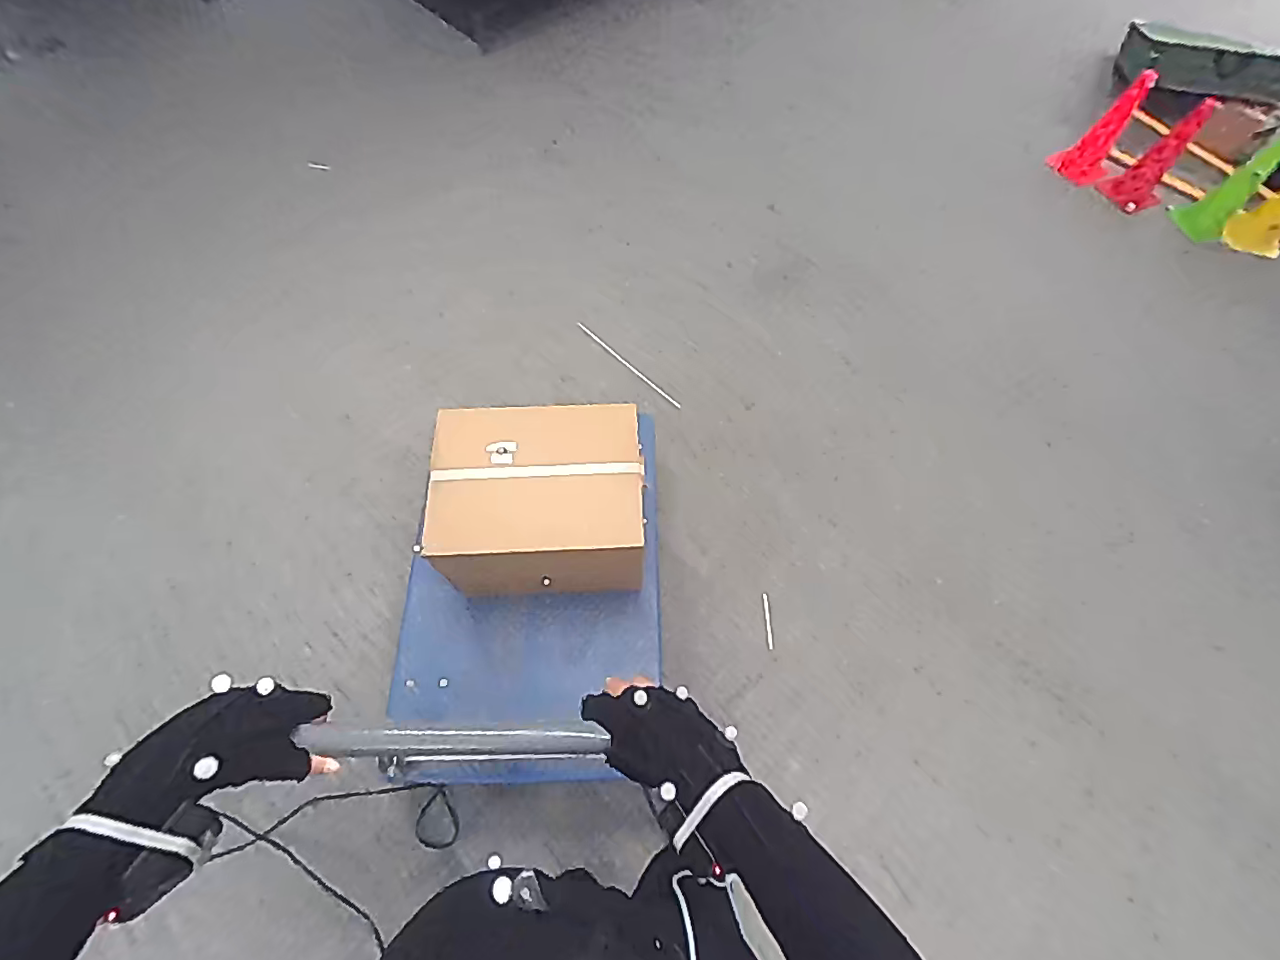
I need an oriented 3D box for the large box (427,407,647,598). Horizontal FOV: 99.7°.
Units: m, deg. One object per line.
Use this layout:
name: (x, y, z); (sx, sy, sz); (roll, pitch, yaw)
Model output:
large box: (-0.197, 0.063, 1.180); (0.408, 0.320, 0.320); (-3, 63, -1)
